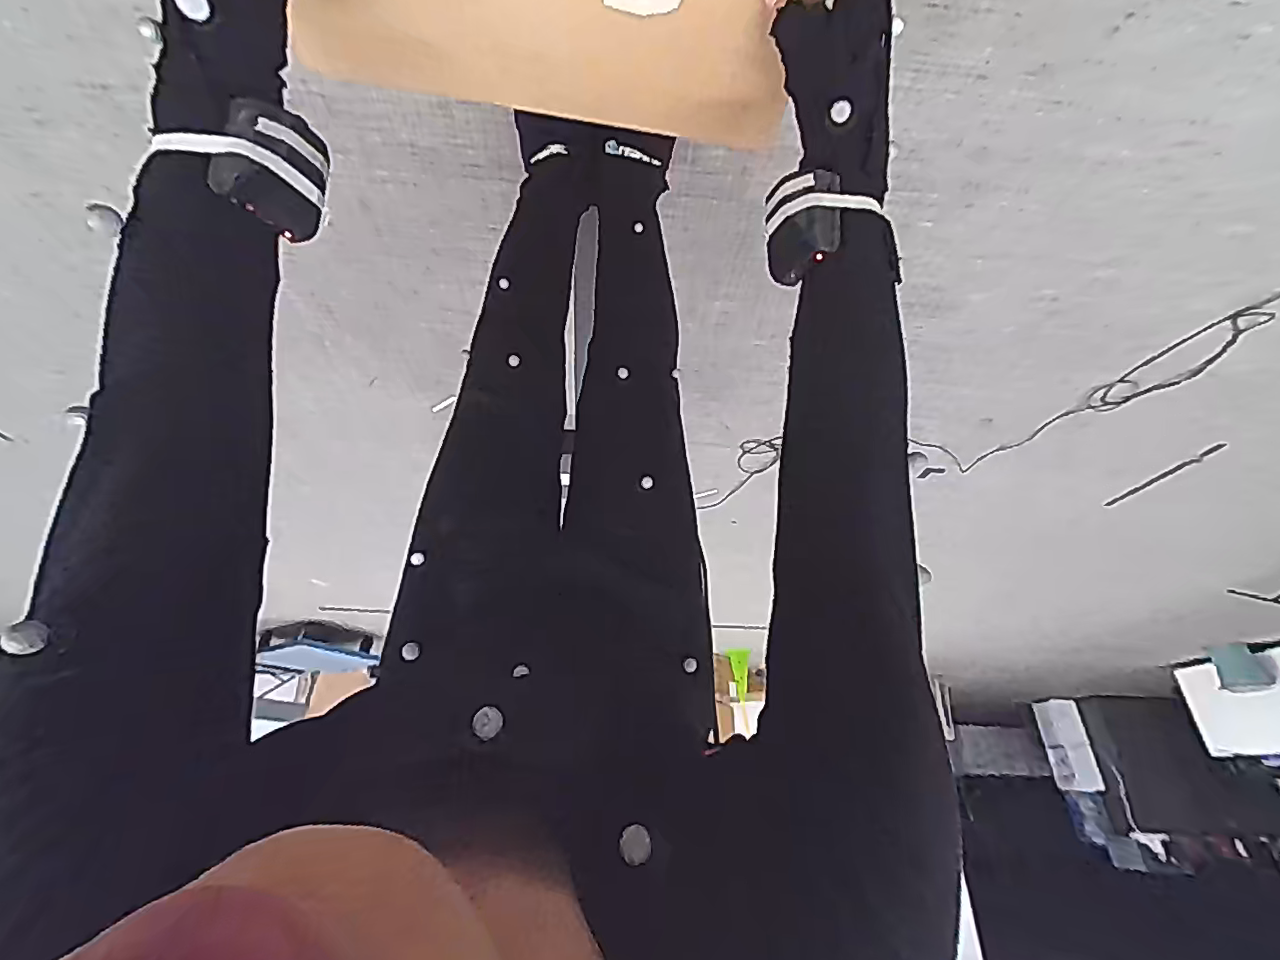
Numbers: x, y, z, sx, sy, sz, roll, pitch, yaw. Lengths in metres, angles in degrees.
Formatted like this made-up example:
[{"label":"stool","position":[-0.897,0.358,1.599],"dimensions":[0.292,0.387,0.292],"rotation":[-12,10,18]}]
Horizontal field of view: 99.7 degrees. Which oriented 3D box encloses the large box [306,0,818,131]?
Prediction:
[{"label":"large box","position":[-0.051,-0.540,0.423],"dimensions":[0.408,0.320,0.320],"rotation":[4,153,-7]}]
